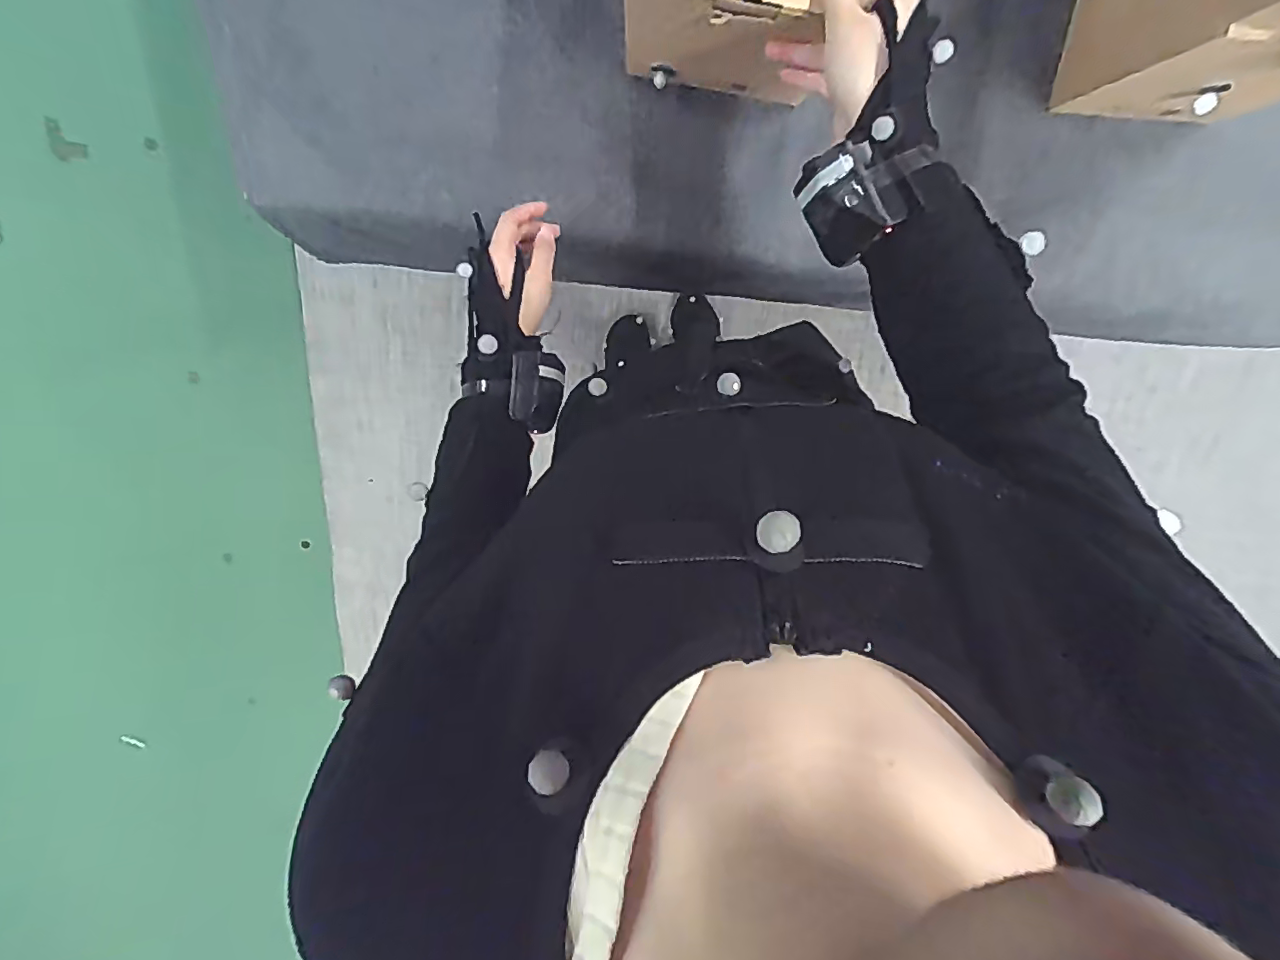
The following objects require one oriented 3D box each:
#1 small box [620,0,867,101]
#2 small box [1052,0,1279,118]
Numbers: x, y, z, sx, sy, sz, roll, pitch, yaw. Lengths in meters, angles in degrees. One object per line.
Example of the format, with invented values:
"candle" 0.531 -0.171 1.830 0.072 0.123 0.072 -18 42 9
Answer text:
"small box" 0.080 -0.416 0.400 0.168 0.176 0.179 8 108 -3
"small box" 0.464 -0.398 0.409 0.168 0.176 0.179 3 110 -1
